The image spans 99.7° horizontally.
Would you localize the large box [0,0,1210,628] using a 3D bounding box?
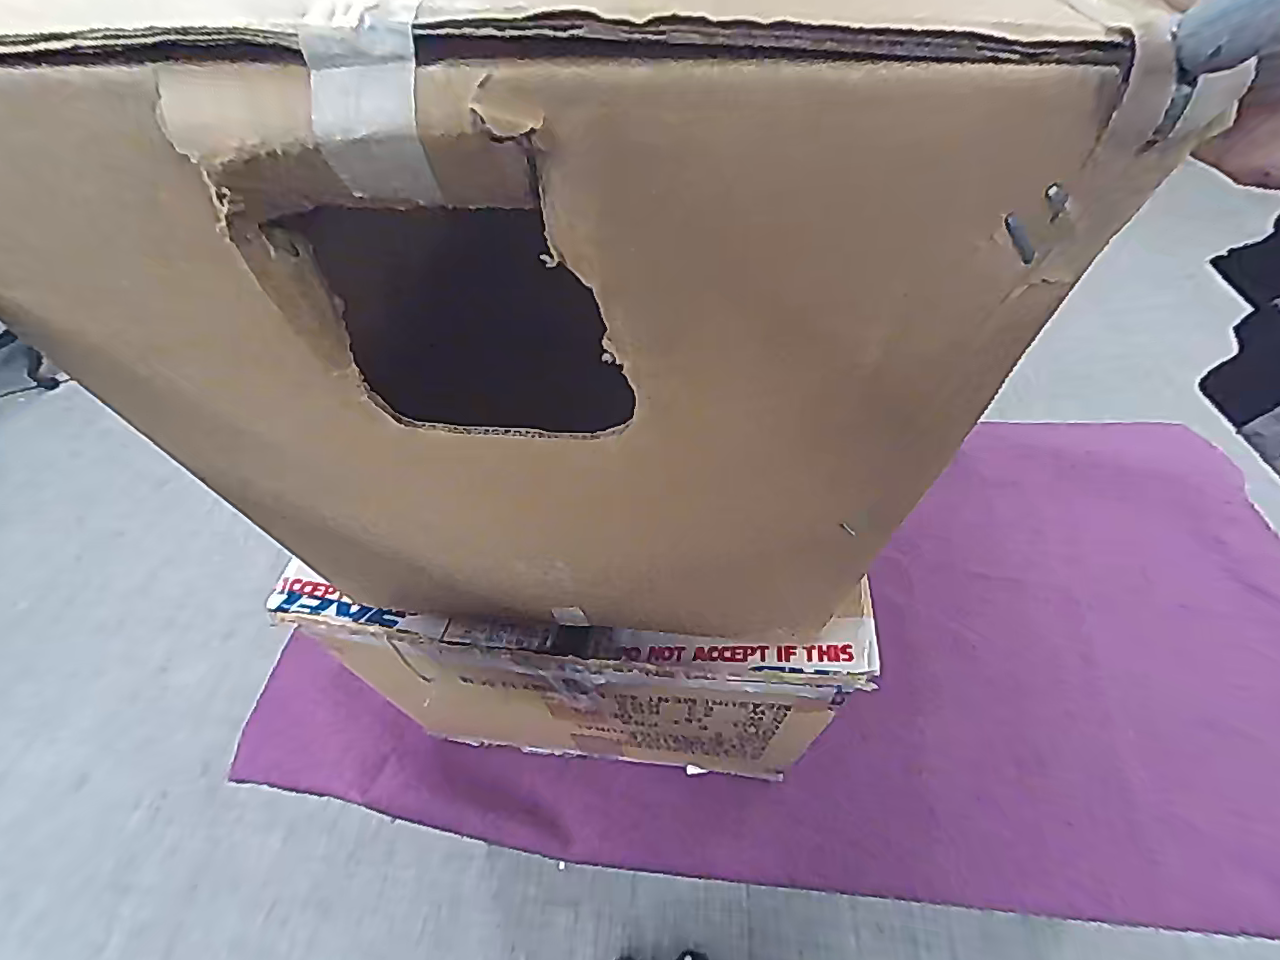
[{"bbox_3d":[-0.021,-0.157,0.348,0.320,0.320,0.408,2,56,5],"label":"large box"}]
